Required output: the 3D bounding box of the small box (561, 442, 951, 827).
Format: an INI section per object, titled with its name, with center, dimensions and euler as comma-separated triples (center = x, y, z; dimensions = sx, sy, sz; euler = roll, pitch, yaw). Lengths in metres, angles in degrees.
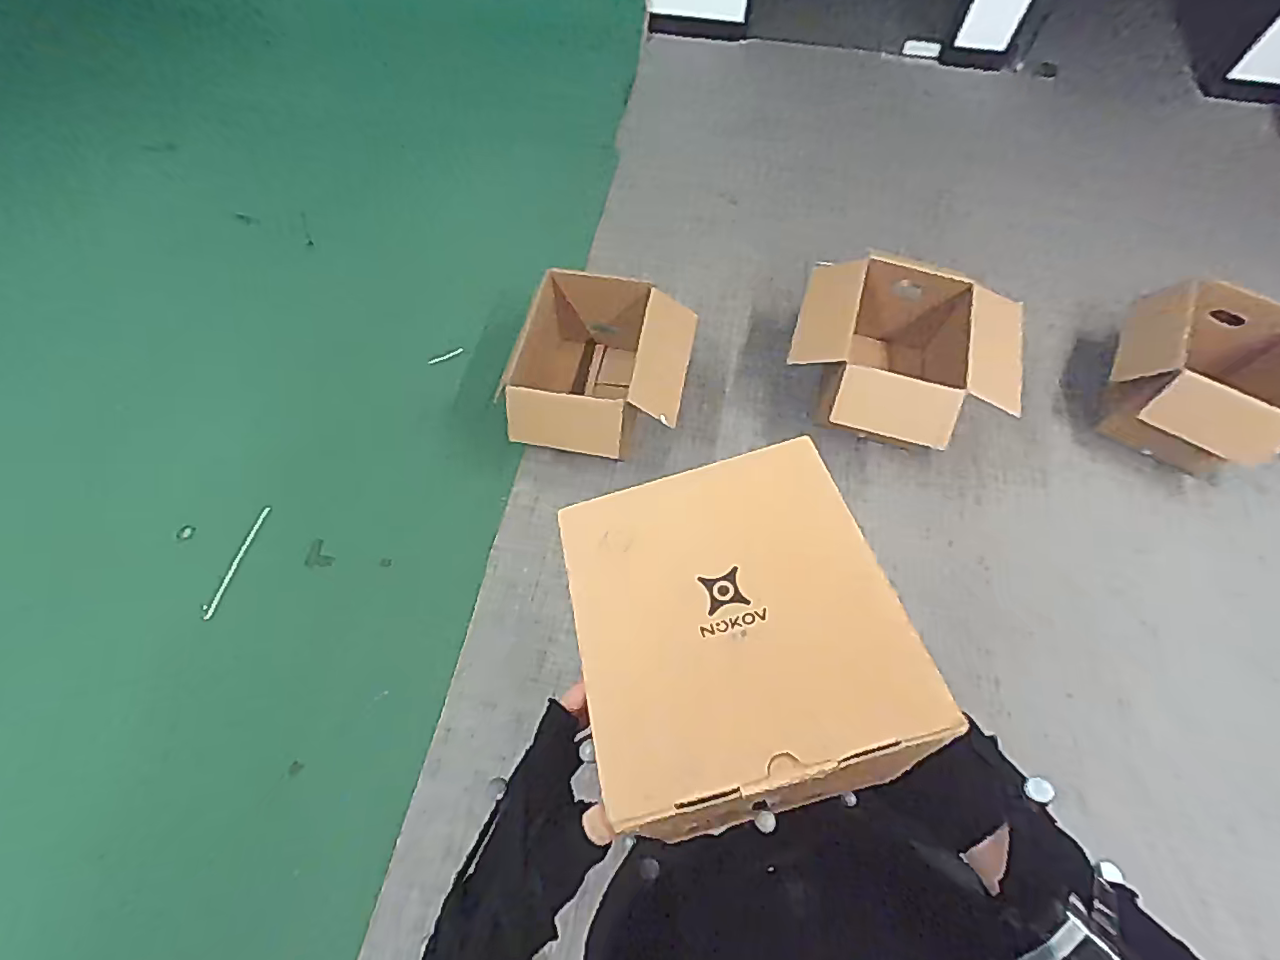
[small box]
center = 0.059, 0.109, 0.359
dimensions = 0.168, 0.176, 0.179
euler = -17, 55, 1
